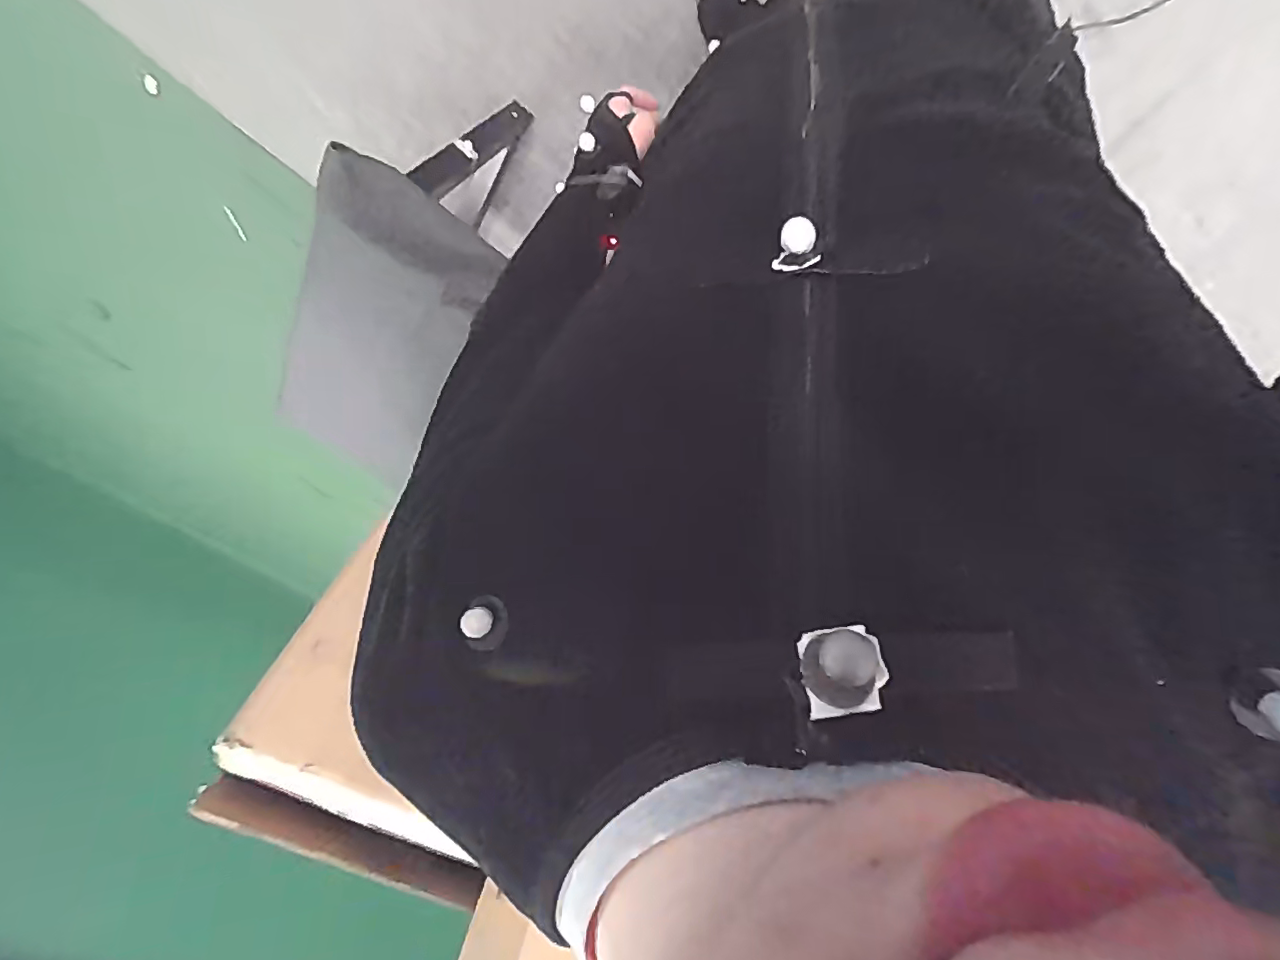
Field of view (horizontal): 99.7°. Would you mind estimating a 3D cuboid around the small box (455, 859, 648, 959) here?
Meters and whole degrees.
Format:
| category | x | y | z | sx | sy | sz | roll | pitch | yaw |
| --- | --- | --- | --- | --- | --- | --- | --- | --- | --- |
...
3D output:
| category | x | y | z | sx | sy | sz | roll | pitch | yaw |
| --- | --- | --- | --- | --- | --- | --- | --- | --- | --- |
| small box | -0.112 | 0.588 | 0.660 | 0.179 | 0.176 | 0.168 | 33 | 137 | -19 |
